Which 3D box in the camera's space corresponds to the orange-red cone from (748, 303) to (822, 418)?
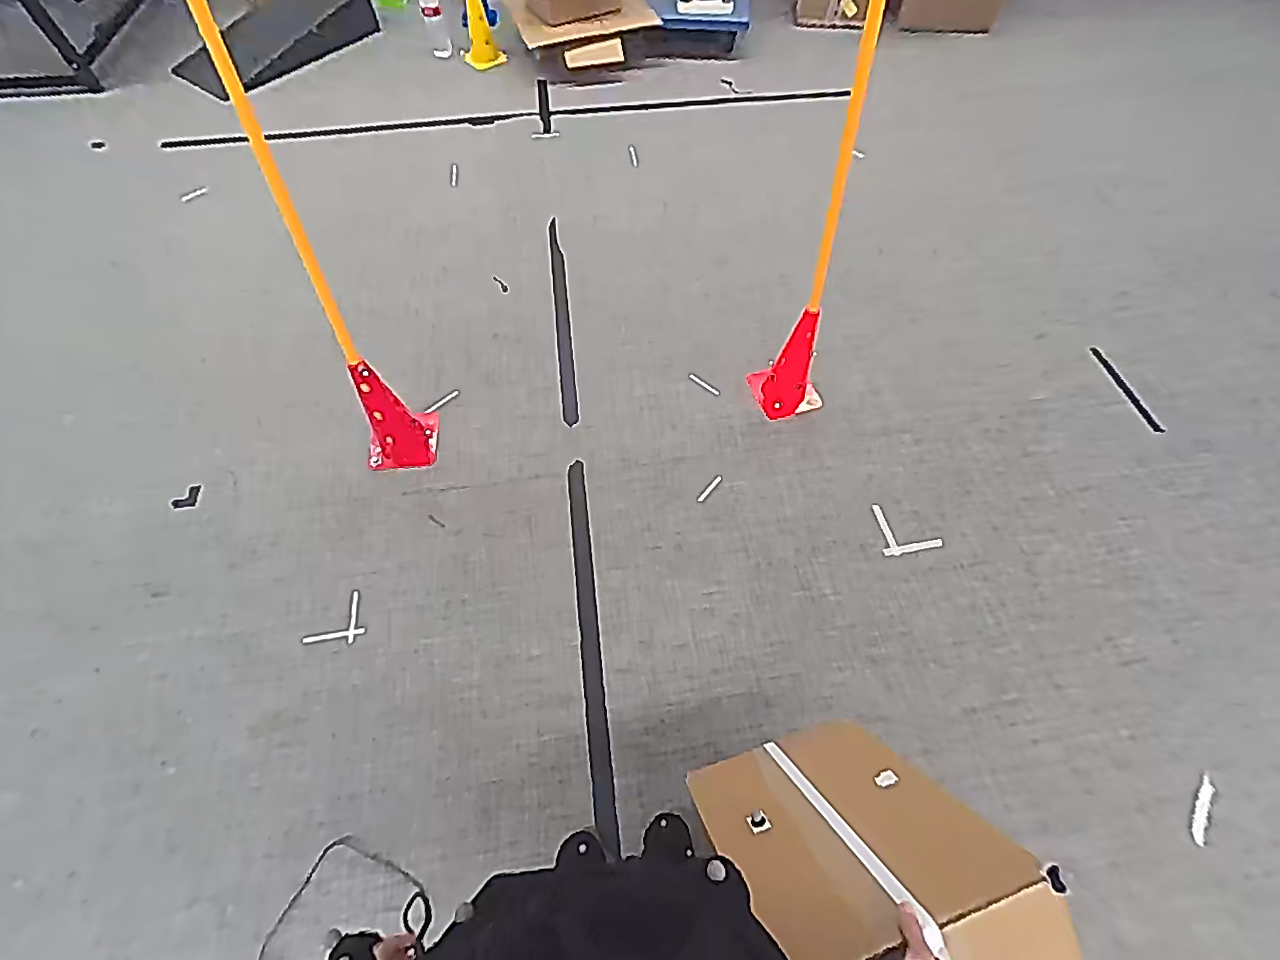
[{"bbox_3d":[0.472,-0.379,1.612,0.199,0.360,0.198,-14,62,-10],"label":"orange-red cone"}]
